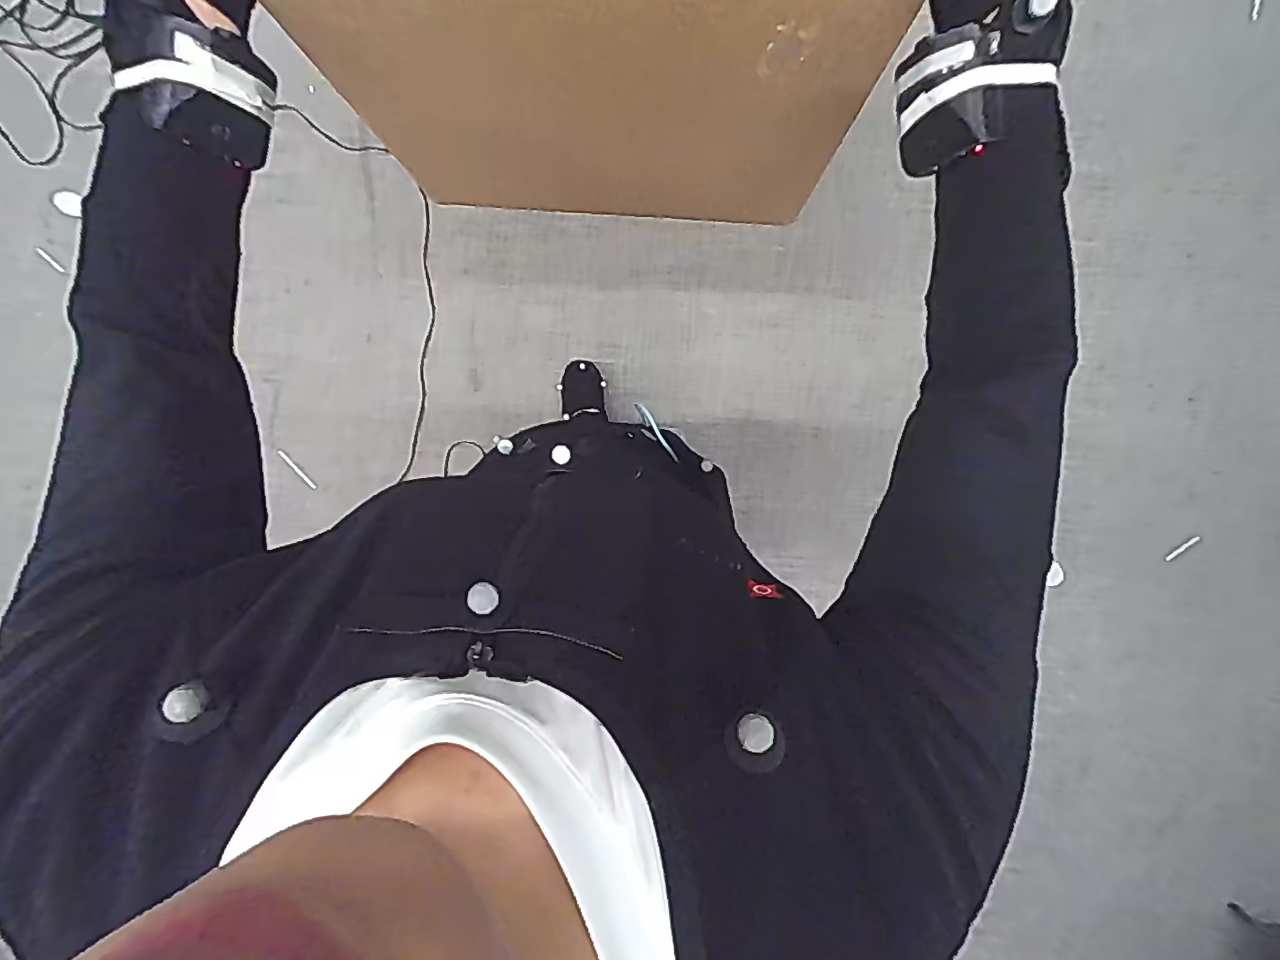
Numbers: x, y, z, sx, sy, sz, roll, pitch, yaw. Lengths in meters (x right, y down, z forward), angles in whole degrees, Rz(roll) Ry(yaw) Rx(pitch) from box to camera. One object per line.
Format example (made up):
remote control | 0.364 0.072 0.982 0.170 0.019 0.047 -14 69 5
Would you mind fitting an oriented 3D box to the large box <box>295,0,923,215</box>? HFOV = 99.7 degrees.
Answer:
large box | -0.019 -0.447 0.449 0.408 0.320 0.320 3 93 0
